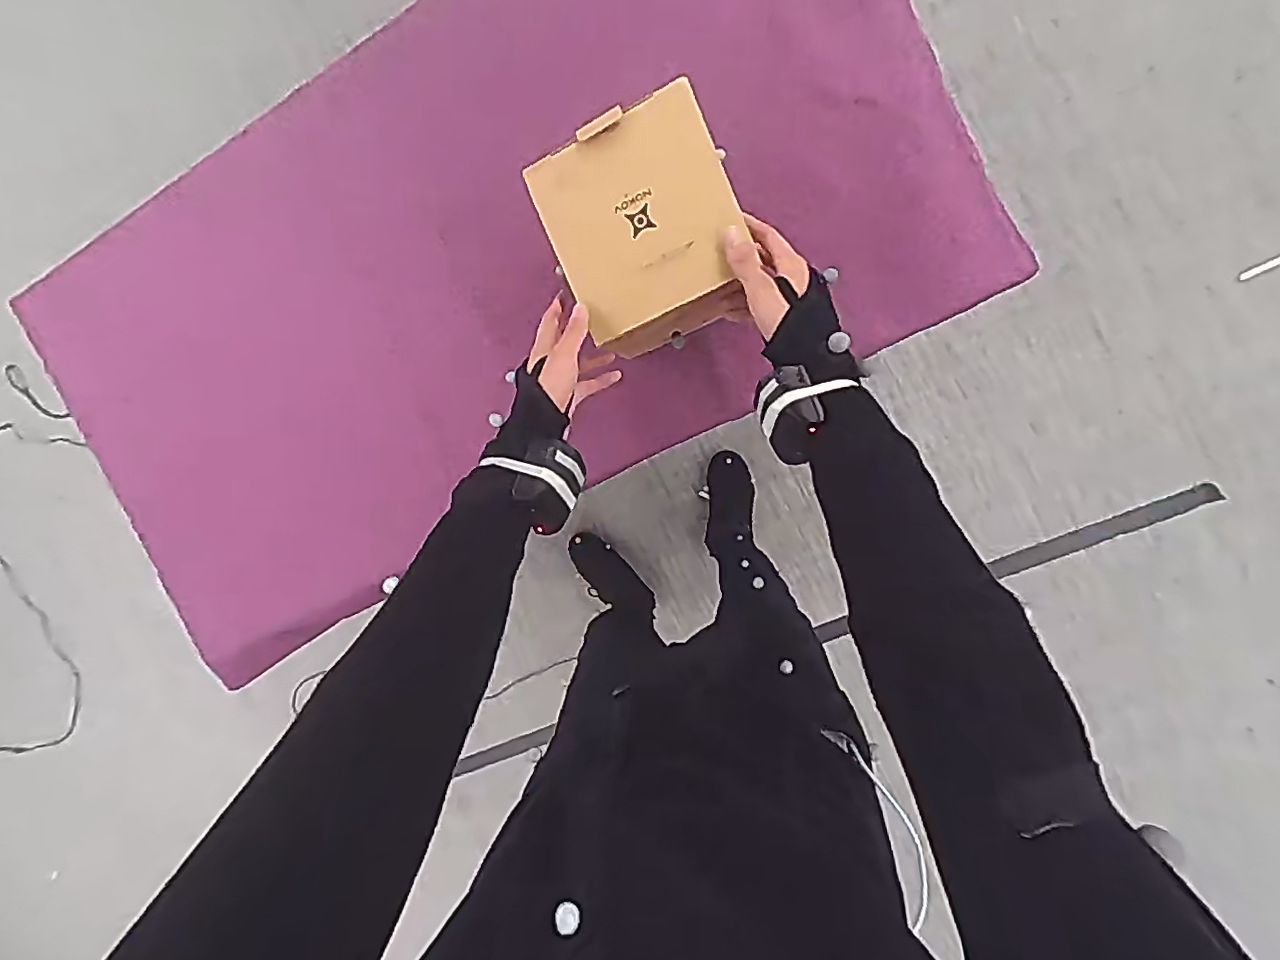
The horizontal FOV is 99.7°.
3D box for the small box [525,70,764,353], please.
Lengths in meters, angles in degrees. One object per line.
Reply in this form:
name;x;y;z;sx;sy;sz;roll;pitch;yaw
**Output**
small box;0.015;-0.245;0.548;0.168;0.176;0.179;-22;94;13
